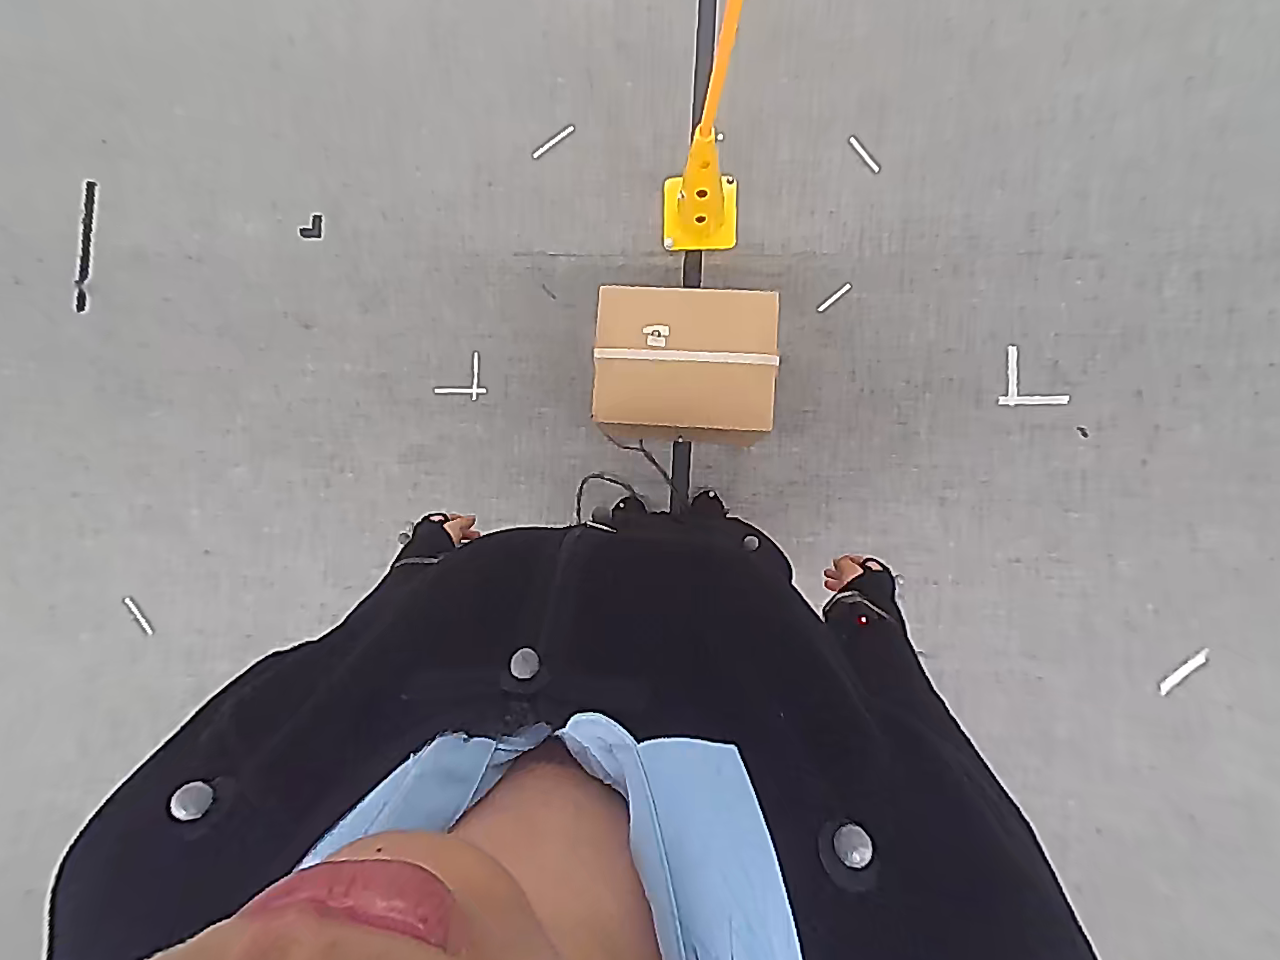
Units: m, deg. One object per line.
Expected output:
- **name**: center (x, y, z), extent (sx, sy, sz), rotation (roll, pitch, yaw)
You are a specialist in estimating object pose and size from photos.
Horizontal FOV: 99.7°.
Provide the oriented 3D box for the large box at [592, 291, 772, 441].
- **large box**: center (0.107, -0.267, 1.363), extent (0.408, 0.320, 0.320), rotation (3, 87, 5)
